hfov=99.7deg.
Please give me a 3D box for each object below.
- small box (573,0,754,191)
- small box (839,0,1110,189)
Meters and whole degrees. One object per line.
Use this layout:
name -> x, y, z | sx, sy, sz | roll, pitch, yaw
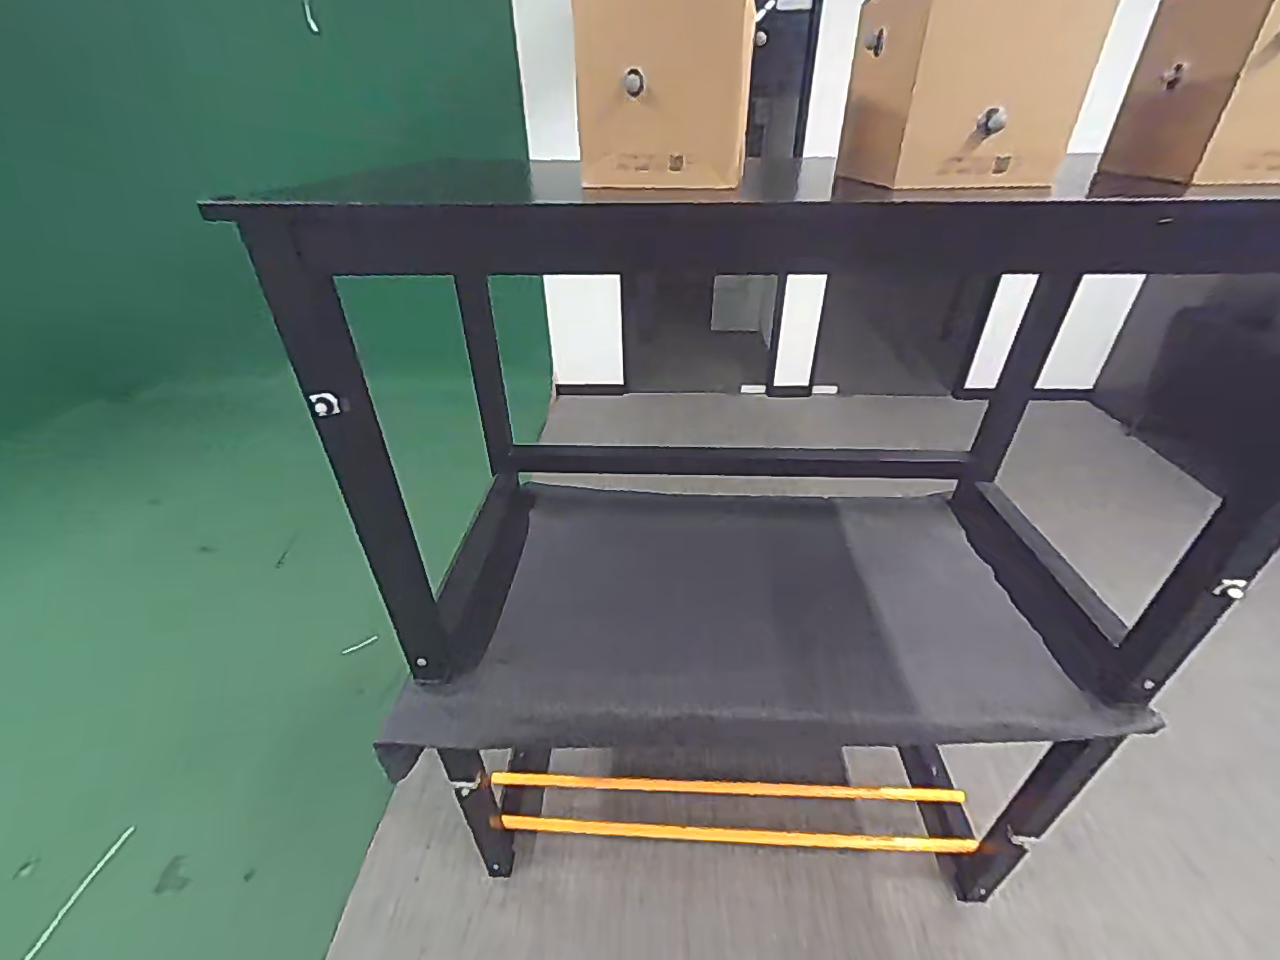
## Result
small box -> 0.035, -0.423, 0.603 | 0.168, 0.176, 0.179 | 5, 33, 10
small box -> 0.327, -0.411, 0.572 | 0.168, 0.176, 0.179 | -2, 33, -1
